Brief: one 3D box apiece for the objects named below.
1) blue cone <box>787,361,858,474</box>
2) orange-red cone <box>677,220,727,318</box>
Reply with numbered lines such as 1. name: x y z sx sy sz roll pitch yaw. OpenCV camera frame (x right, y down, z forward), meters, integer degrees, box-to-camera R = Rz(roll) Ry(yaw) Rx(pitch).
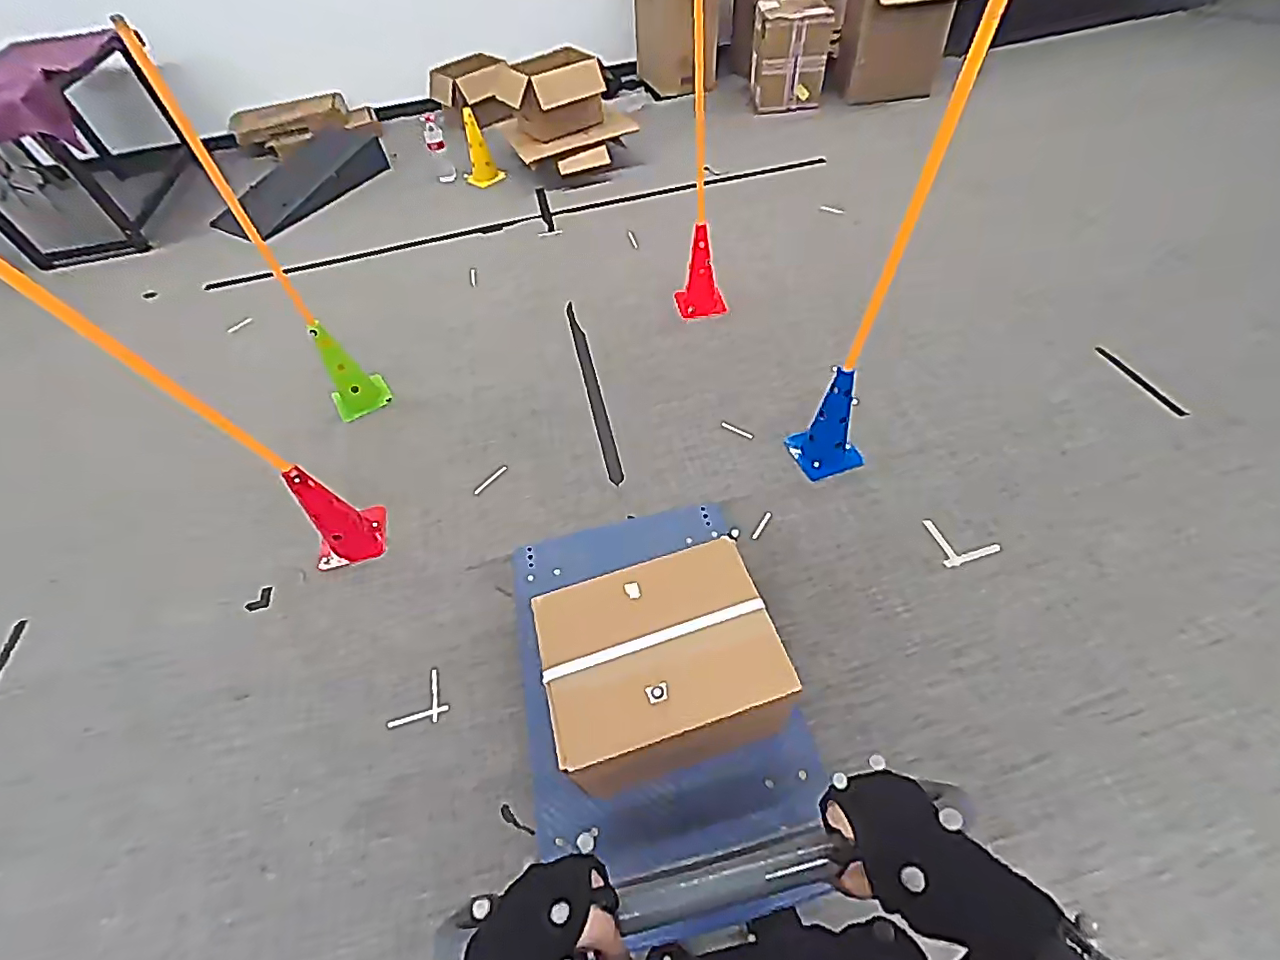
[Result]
1. blue cone: 0.595 -0.204 1.668 0.193 0.380 0.192 -17 52 -8
2. orange-red cone: 0.253 -0.870 2.188 0.199 0.360 0.198 -8 53 -2
